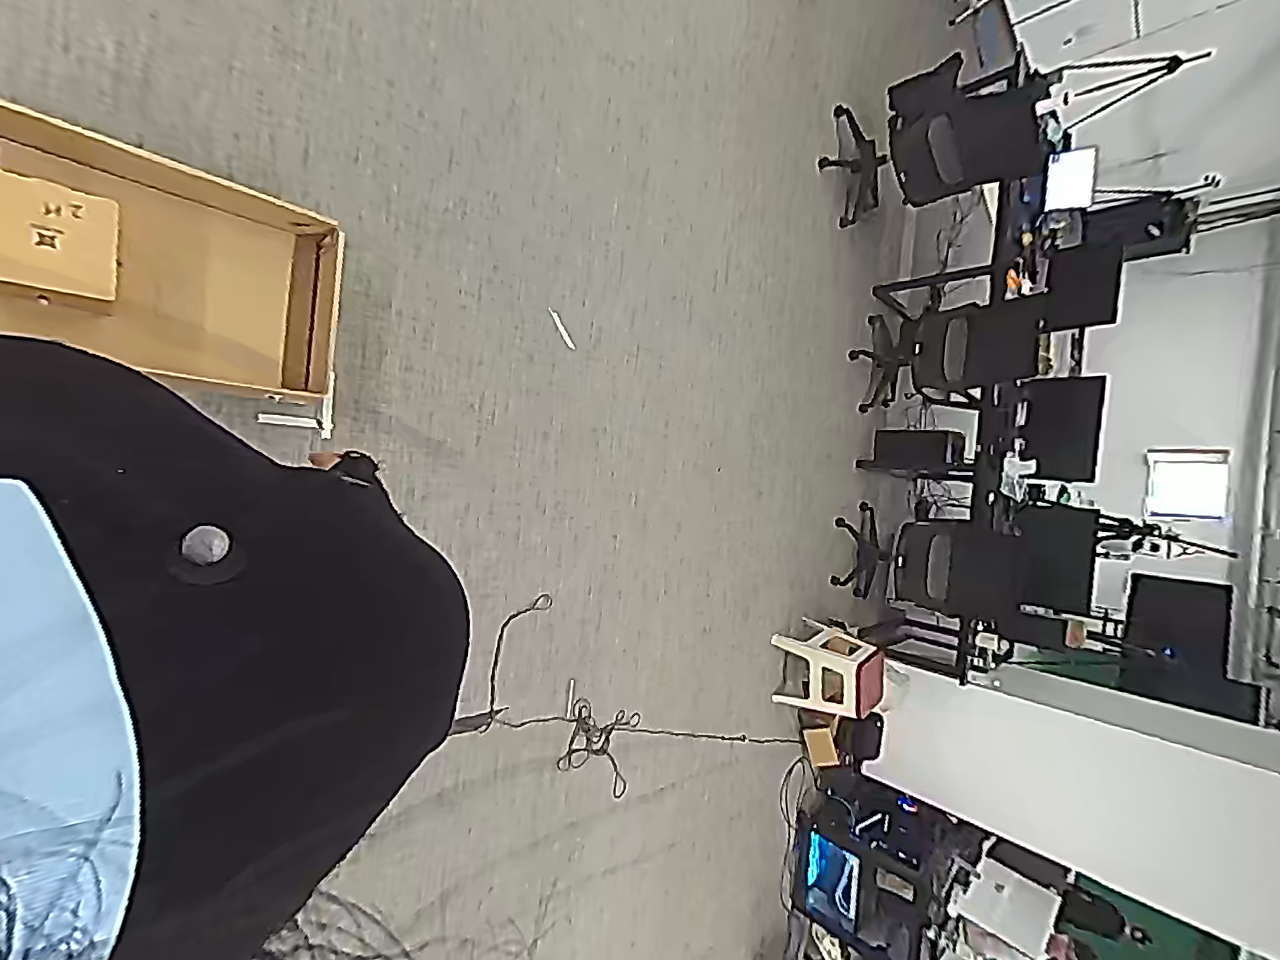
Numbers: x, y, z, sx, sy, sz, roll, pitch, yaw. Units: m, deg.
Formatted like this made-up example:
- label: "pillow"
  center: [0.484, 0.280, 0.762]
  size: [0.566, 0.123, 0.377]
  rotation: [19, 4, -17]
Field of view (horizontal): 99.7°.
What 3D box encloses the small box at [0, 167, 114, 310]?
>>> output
- label: "small box"
  center: [-1.028, -0.406, 0.931]
  size: [0.168, 0.176, 0.179]
  rotation: [3, 92, -46]
